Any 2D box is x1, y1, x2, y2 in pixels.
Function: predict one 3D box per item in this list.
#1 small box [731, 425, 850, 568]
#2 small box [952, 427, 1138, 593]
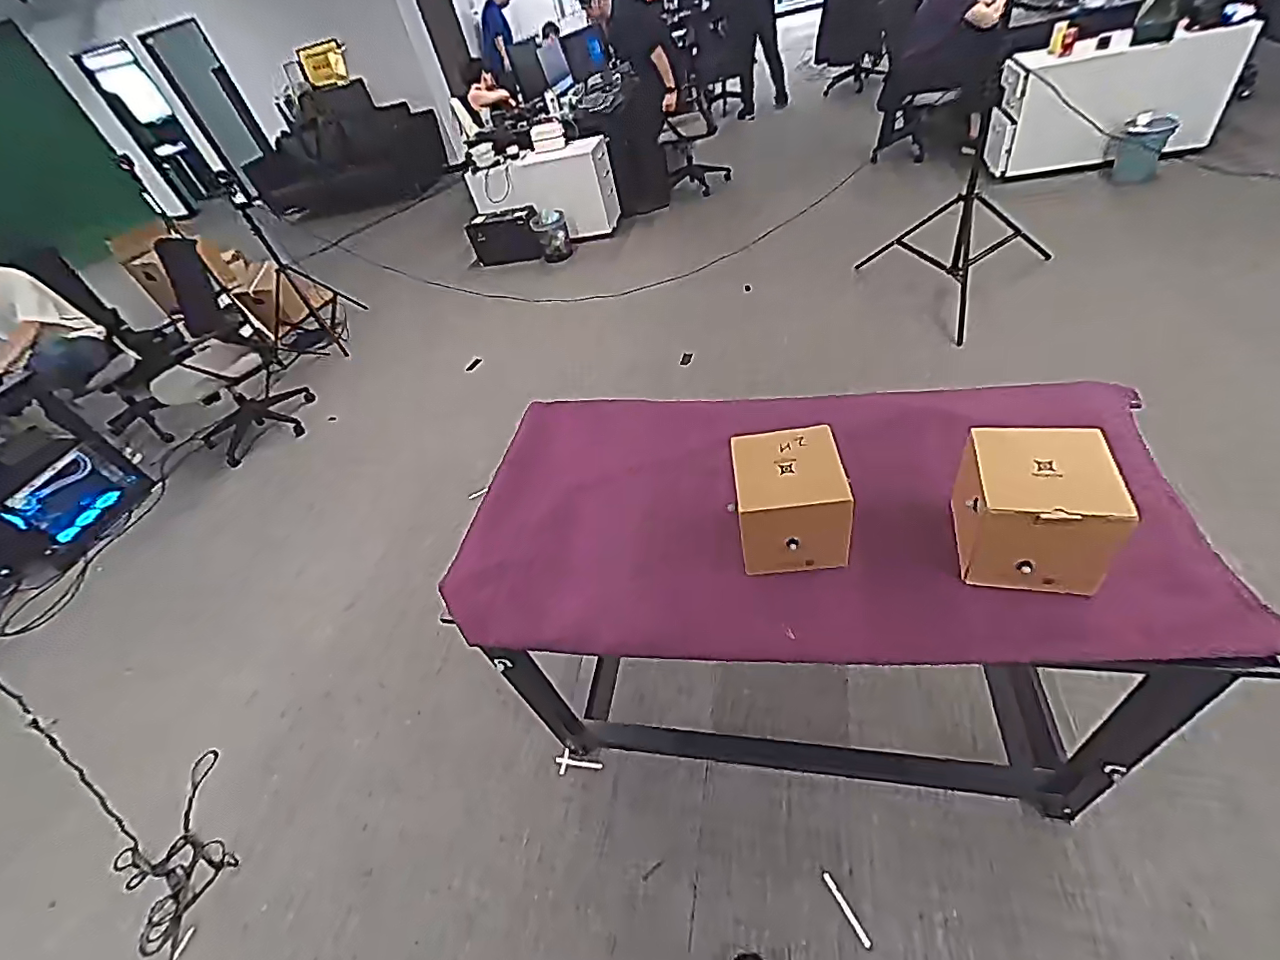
[{"bbox_3d":[0.248,0.035,0.908,0.168,0.176,0.179,-7,44,10],"label":"small box"},{"bbox_3d":[0.576,0.040,0.801,0.168,0.176,0.179,2,45,20],"label":"small box"}]
